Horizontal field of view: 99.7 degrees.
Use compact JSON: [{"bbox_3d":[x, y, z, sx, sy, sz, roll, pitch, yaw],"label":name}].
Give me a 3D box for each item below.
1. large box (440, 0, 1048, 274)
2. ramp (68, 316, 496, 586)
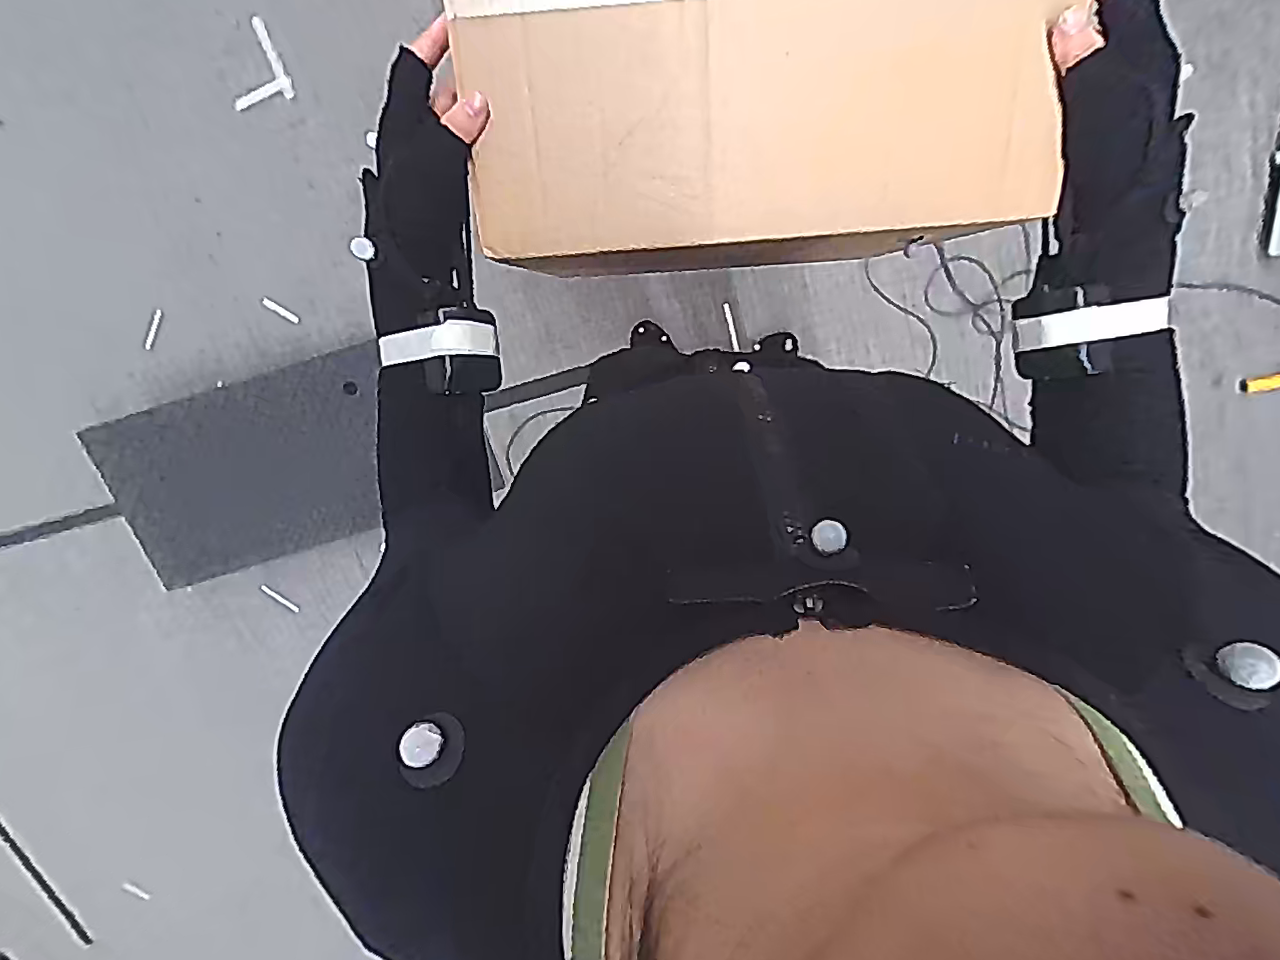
[{"bbox_3d":[0.069,-0.372,0.490,0.408,0.320,0.320,-4,108,2],"label":"large box"},{"bbox_3d":[-0.954,-0.072,1.488,0.991,0.206,0.509,-16,104,9],"label":"ramp"}]
